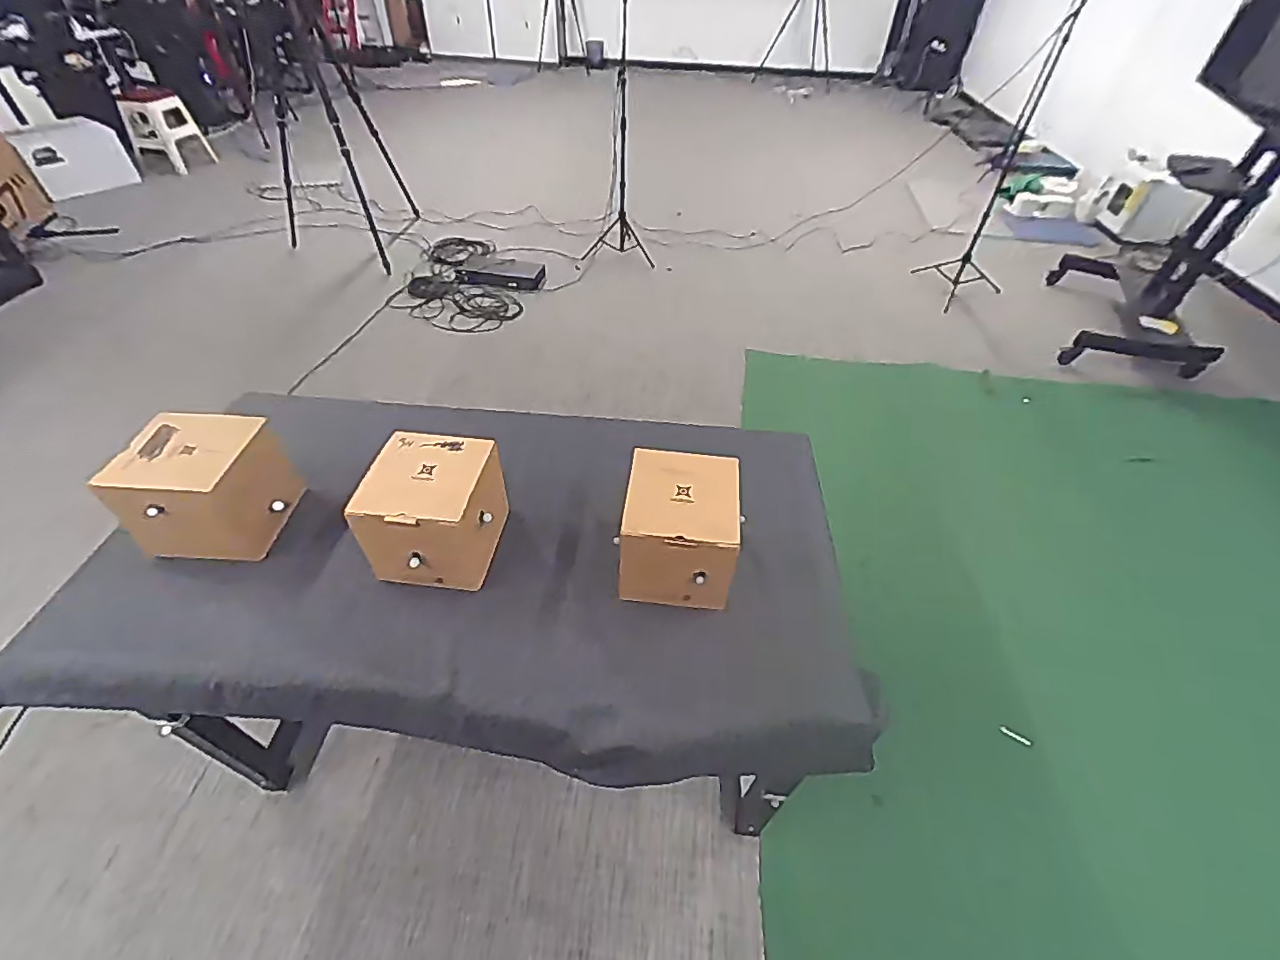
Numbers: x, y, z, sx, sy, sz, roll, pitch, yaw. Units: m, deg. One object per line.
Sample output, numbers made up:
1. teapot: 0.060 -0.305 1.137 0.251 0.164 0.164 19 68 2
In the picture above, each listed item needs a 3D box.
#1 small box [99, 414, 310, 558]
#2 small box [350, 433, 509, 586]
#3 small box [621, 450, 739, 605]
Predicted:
1. small box: -0.685 0.012 0.878 0.179 0.176 0.168 3 46 -1
2. small box: -0.316 0.049 0.861 0.168 0.176 0.179 6 46 3
3. small box: 0.061 0.077 0.853 0.168 0.176 0.179 6 45 2
